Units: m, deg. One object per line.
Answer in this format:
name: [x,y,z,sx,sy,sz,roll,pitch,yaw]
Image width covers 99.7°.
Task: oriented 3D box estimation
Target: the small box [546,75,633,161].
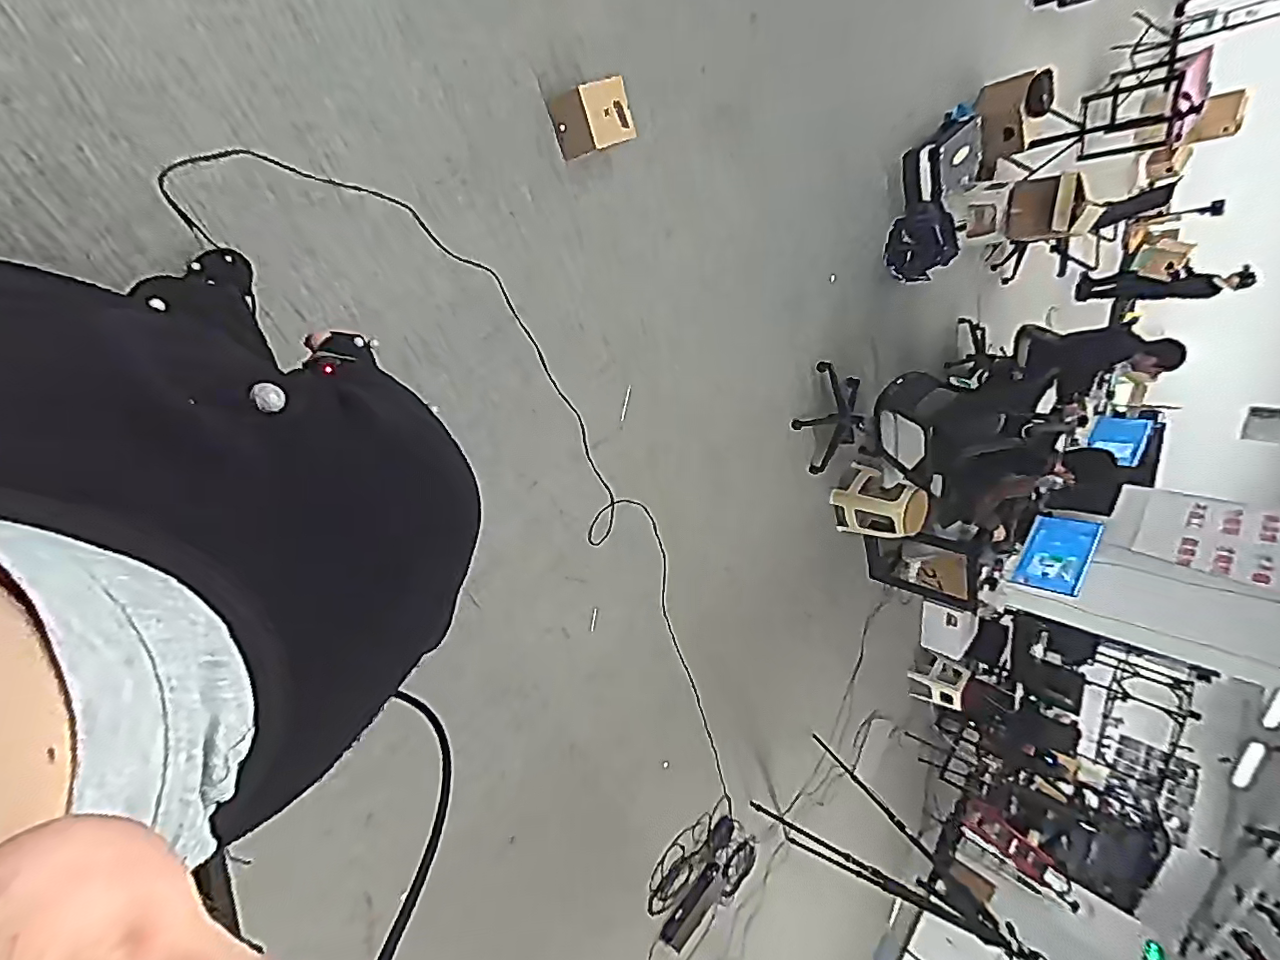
small box: [-0.157,-1.111,1.665,0.179,0.176,0.168,-38,123,-29]
